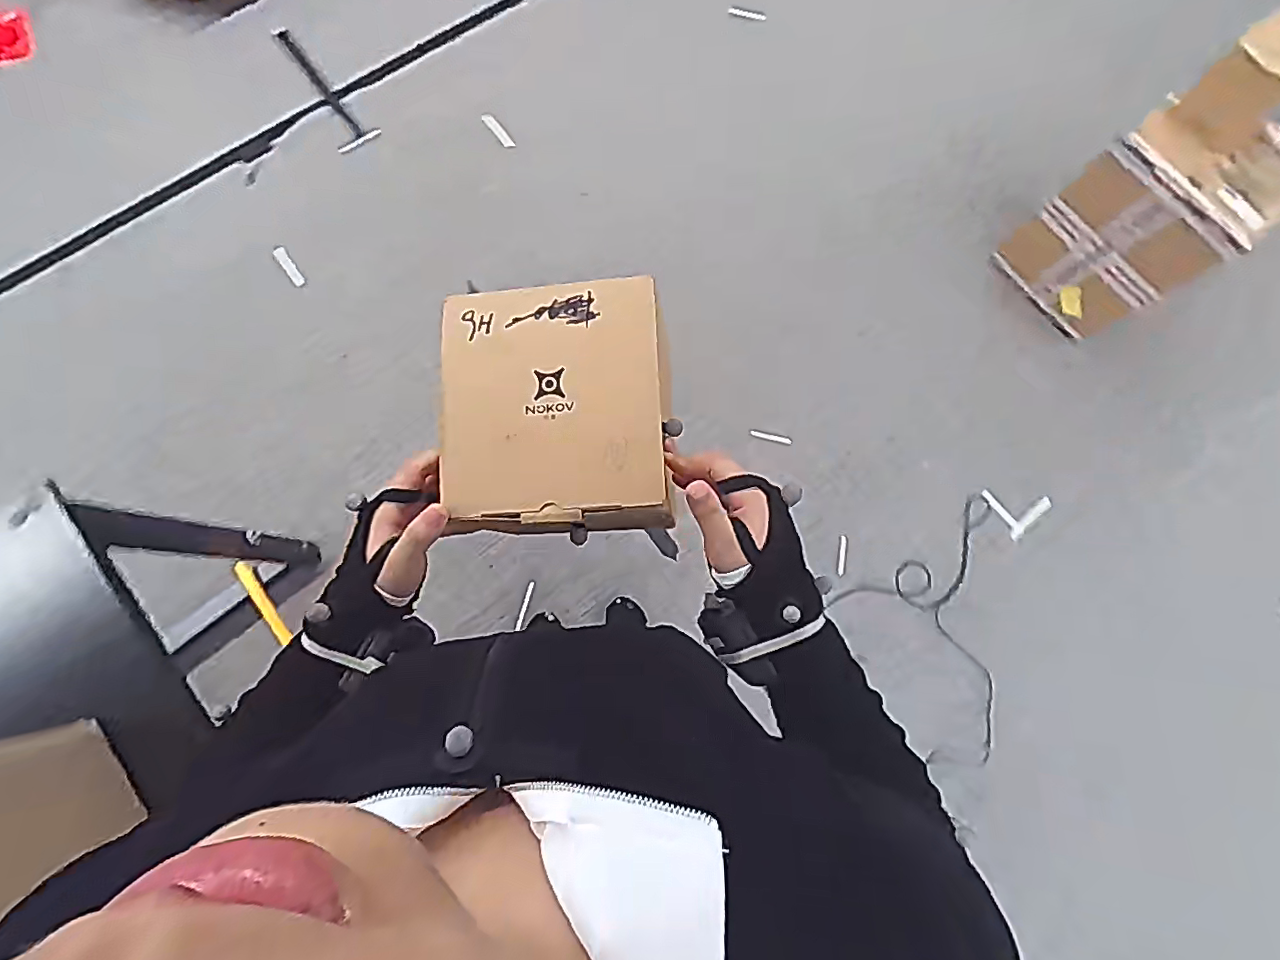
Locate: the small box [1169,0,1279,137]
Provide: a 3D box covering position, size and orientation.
[{"bbox_3d":[1.390,-0.941,1.234,0.179,0.176,0.168,-39,80,-7],"label":"small box"}]
